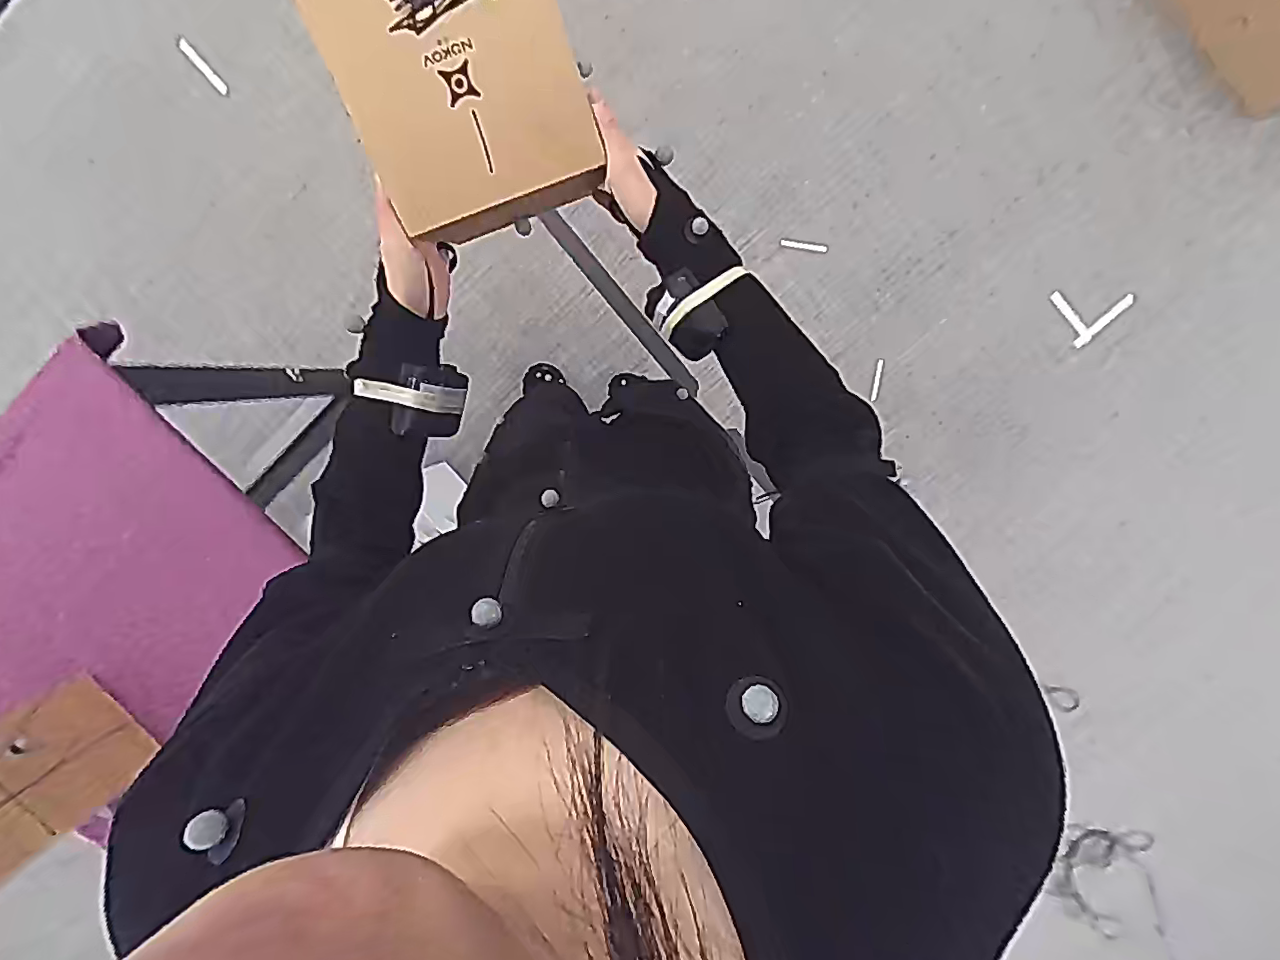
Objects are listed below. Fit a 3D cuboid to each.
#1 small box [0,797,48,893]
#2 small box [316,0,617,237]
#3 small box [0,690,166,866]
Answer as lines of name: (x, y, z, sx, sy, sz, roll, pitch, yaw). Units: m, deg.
small box: (-0.860, 0.462, 0.610, 0.168, 0.176, 0.179, -36, 98, 6)
small box: (-0.125, -0.318, 0.448, 0.168, 0.176, 0.179, -18, 113, 3)
small box: (-0.856, 0.431, 0.771, 0.168, 0.176, 0.179, -38, 98, 7)
